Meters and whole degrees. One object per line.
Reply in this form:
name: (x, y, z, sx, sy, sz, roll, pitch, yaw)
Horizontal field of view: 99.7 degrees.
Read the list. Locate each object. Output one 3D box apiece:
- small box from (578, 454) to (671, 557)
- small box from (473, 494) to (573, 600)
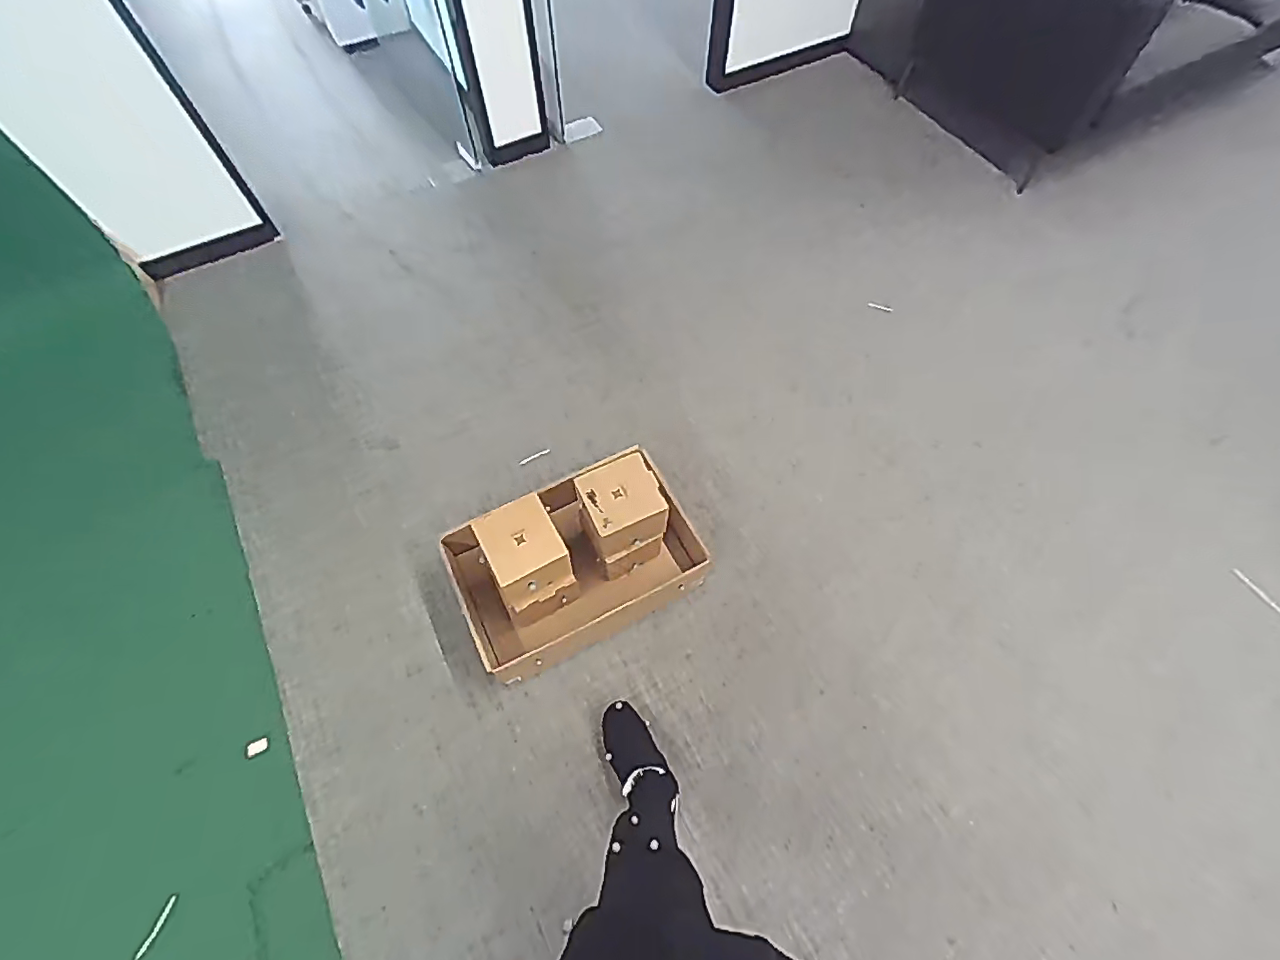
small box: (-0.041, 0.067, 1.339, 0.179, 0.176, 0.168, -23, 66, -12)
small box: (-0.271, 0.168, 1.289, 0.168, 0.176, 0.179, -26, 66, -16)
